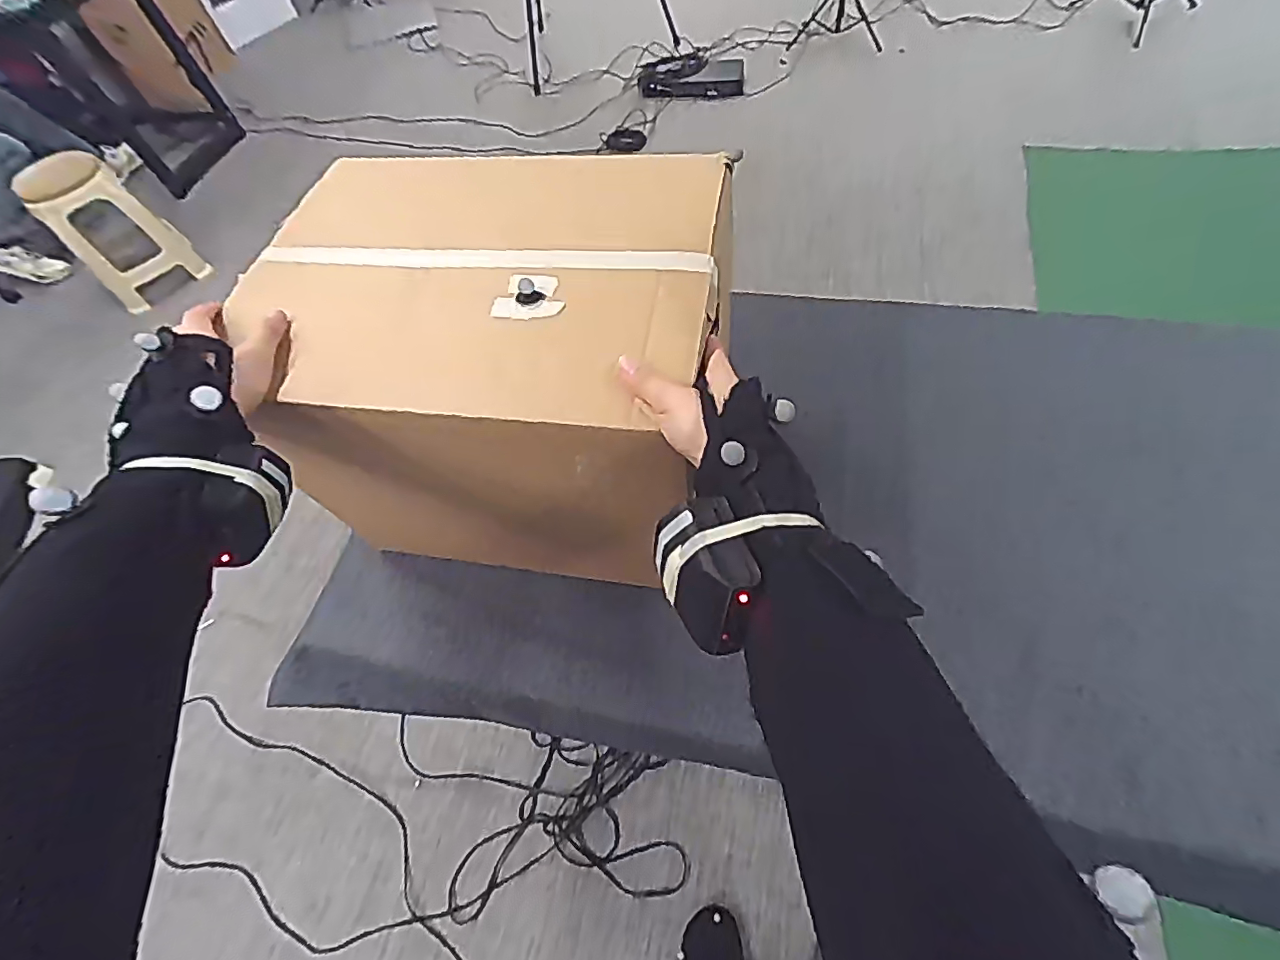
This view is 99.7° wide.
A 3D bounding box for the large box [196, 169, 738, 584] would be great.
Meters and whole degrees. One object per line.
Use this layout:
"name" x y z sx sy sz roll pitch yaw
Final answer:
"large box" -0.115 -0.101 0.587 0.408 0.320 0.320 6 61 9
